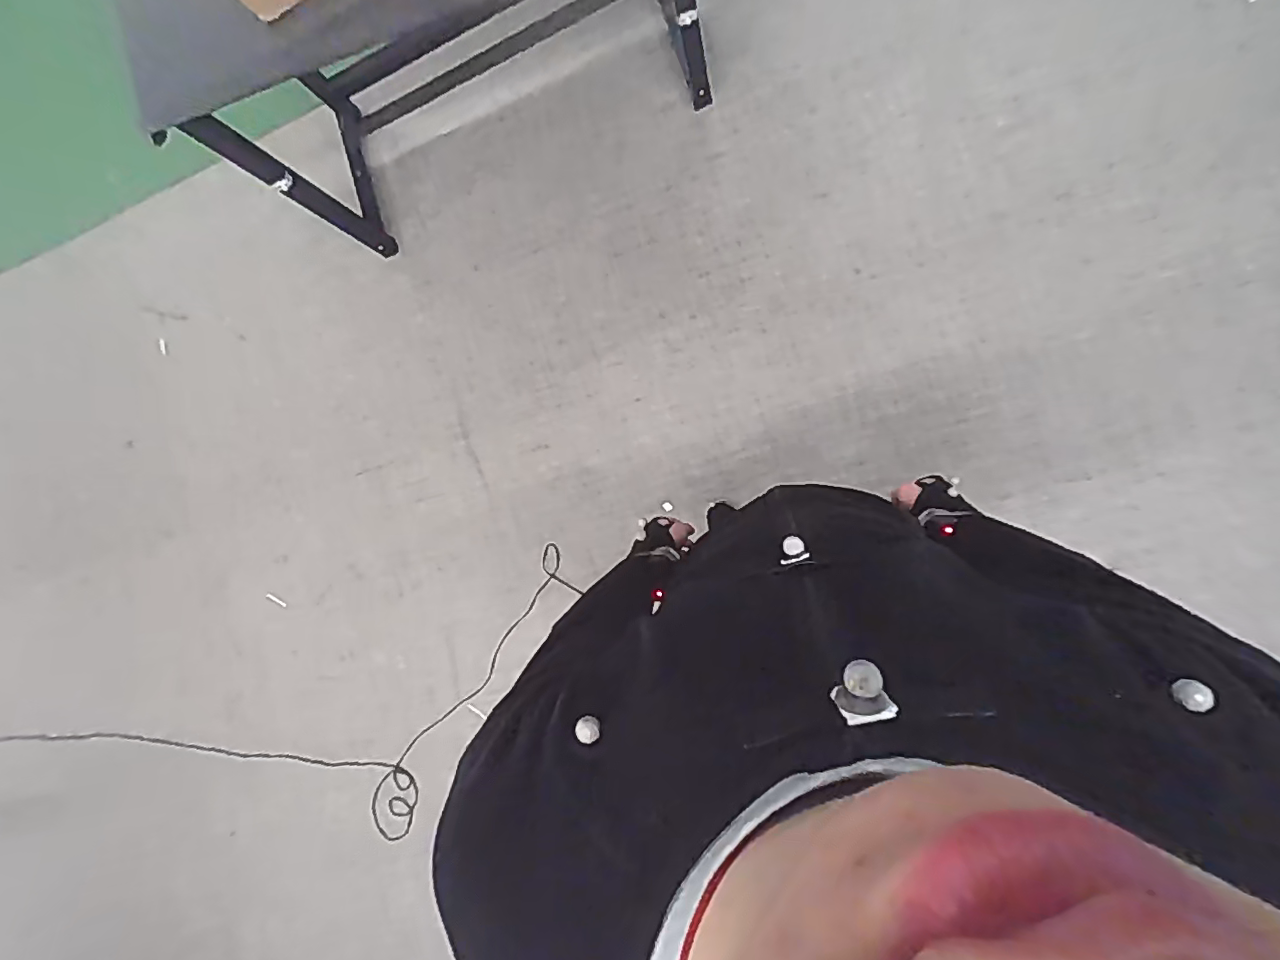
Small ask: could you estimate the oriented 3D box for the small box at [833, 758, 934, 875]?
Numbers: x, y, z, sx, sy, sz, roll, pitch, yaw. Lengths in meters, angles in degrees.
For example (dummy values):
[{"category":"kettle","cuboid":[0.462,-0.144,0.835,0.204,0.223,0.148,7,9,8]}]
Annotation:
[{"category":"small box","cuboid":[0.608,0.845,1.372,0.168,0.176,0.179,-23,82,11]}]
